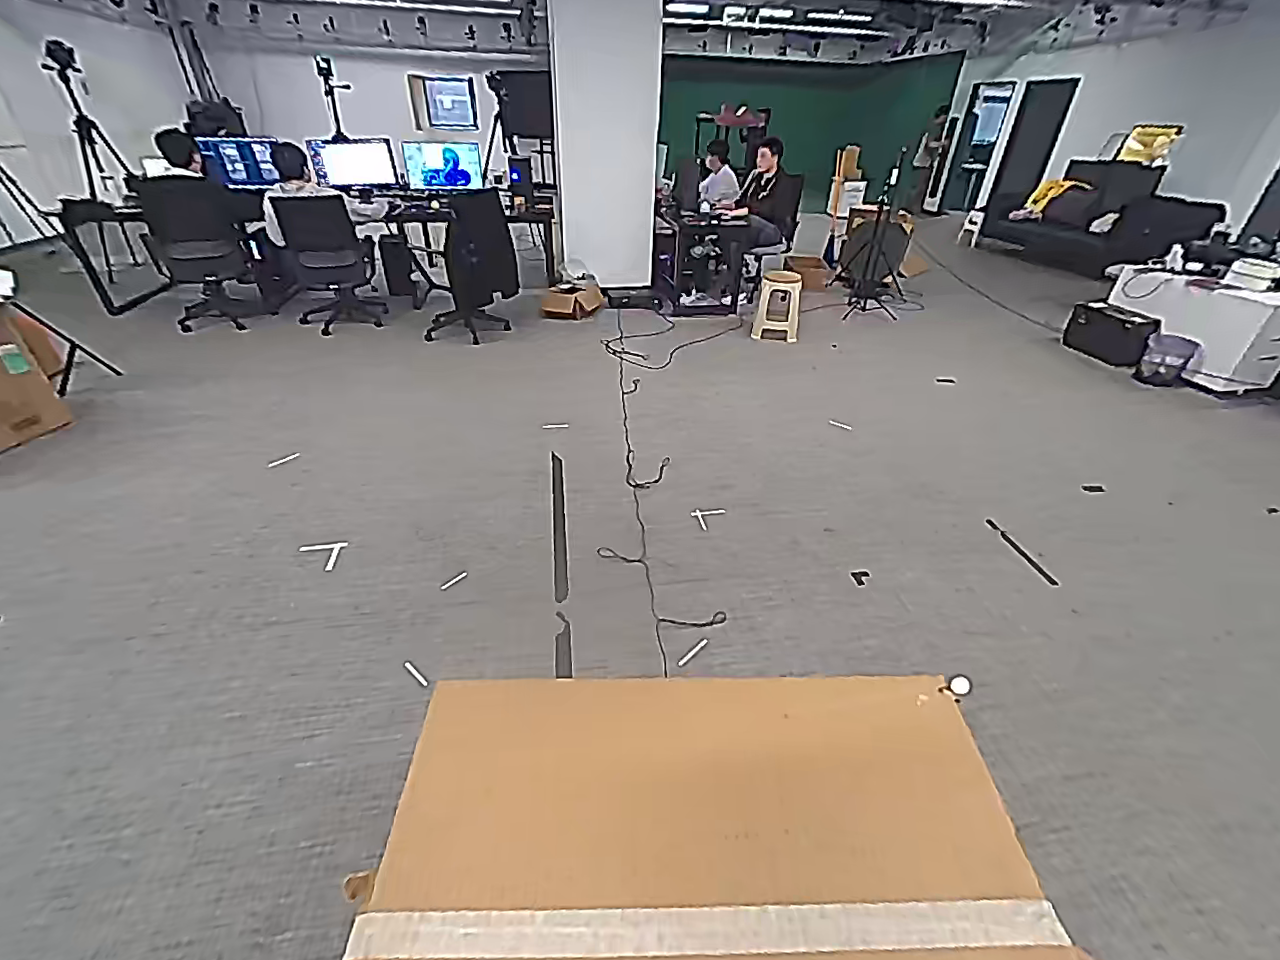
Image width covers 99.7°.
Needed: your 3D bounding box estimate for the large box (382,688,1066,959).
[{"bbox_3d":[0.045,0.384,0.416,0.408,0.320,0.320,0,42,-1],"label":"large box"}]
